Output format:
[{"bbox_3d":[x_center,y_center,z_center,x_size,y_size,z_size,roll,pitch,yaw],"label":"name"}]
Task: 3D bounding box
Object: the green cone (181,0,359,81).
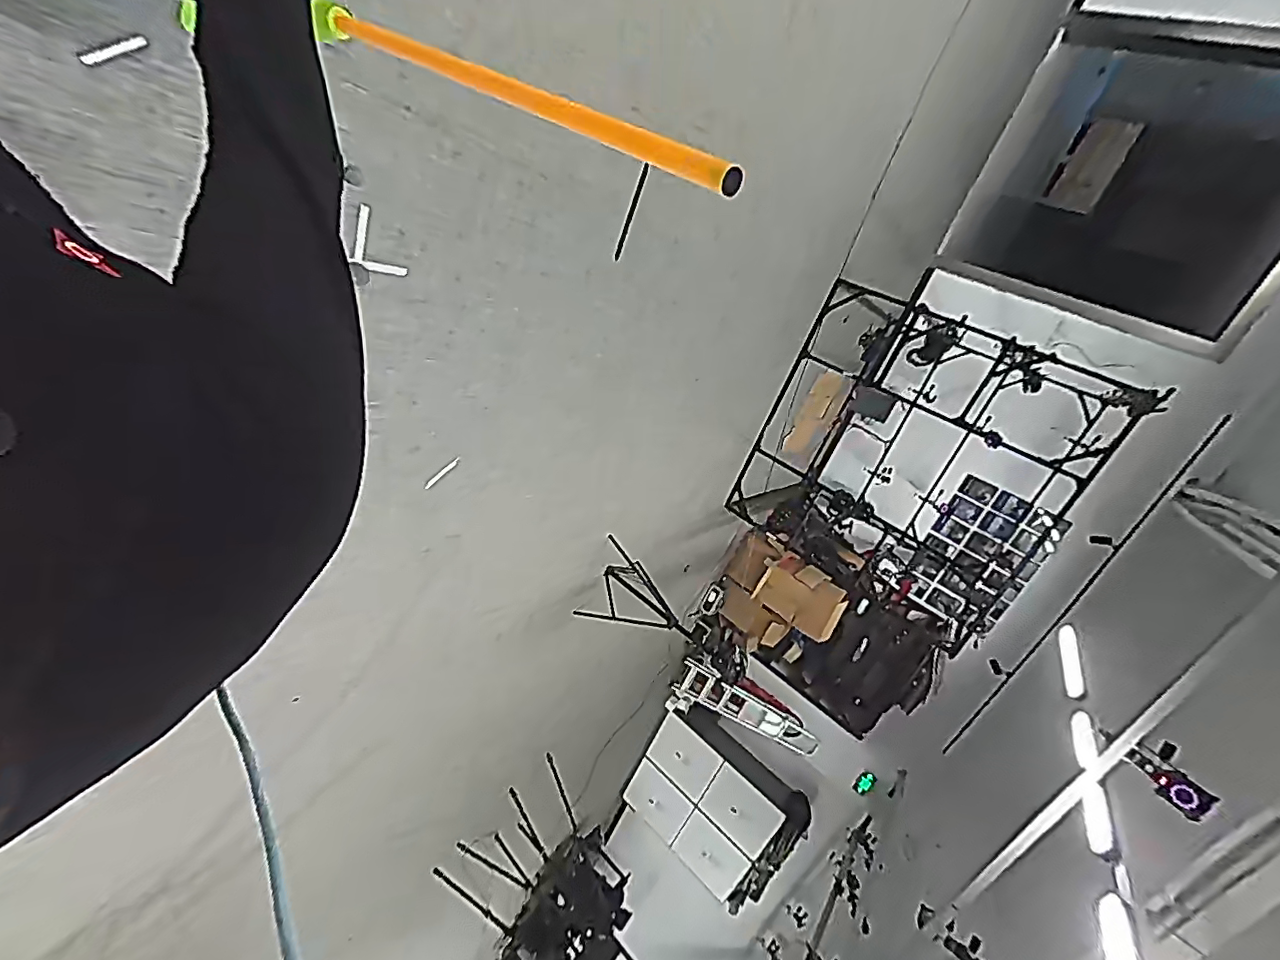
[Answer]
[{"bbox_3d":[-0.613,-0.826,0.953,0.202,0.368,0.200,-6,125,-58],"label":"green cone"}]
